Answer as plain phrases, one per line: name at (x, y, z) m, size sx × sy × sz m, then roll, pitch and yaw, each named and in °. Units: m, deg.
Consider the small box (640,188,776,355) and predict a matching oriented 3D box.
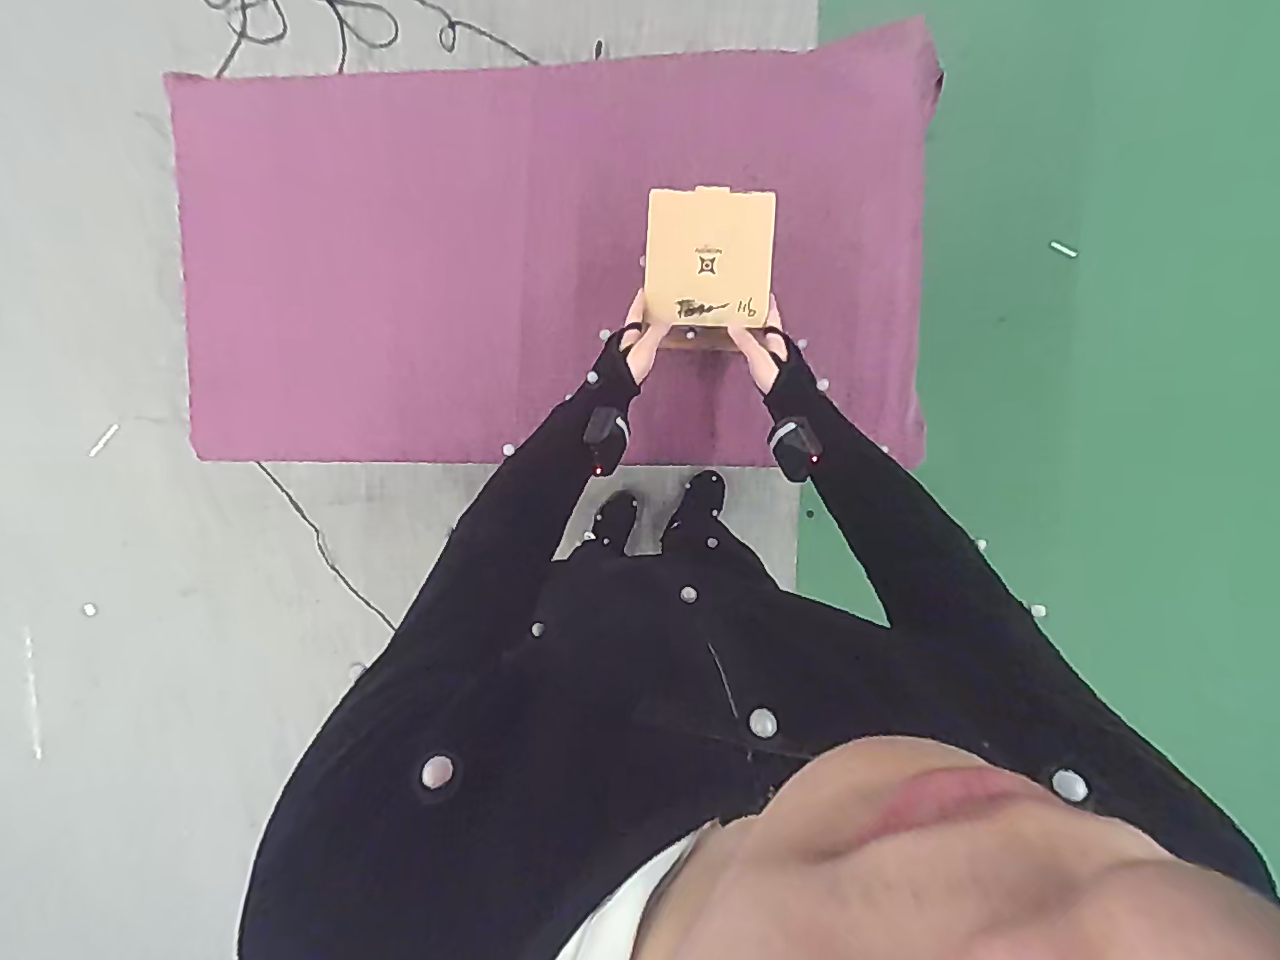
small box at (0.090, -0.285, 0.772) m, size 0.168 × 0.176 × 0.179 m, roll 4°, pitch 93°, yaw 3°
